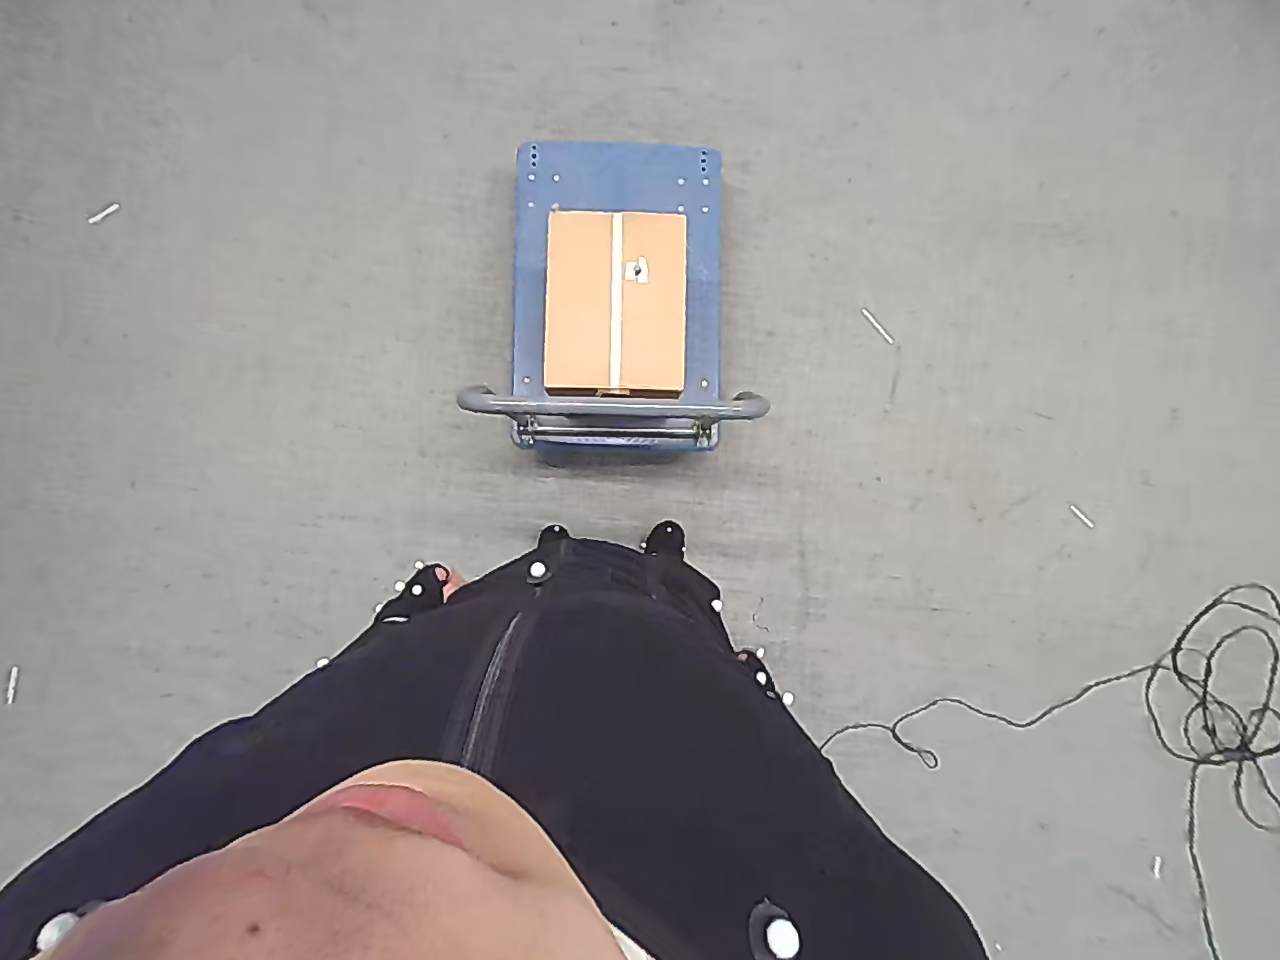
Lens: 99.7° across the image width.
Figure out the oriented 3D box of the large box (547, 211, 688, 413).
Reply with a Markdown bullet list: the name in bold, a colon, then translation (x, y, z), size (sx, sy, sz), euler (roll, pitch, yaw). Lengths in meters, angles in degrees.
- **large box**: translation (-0.051, -0.391, 1.345), size (0.320, 0.320, 0.408), euler (1, 86, -2)
